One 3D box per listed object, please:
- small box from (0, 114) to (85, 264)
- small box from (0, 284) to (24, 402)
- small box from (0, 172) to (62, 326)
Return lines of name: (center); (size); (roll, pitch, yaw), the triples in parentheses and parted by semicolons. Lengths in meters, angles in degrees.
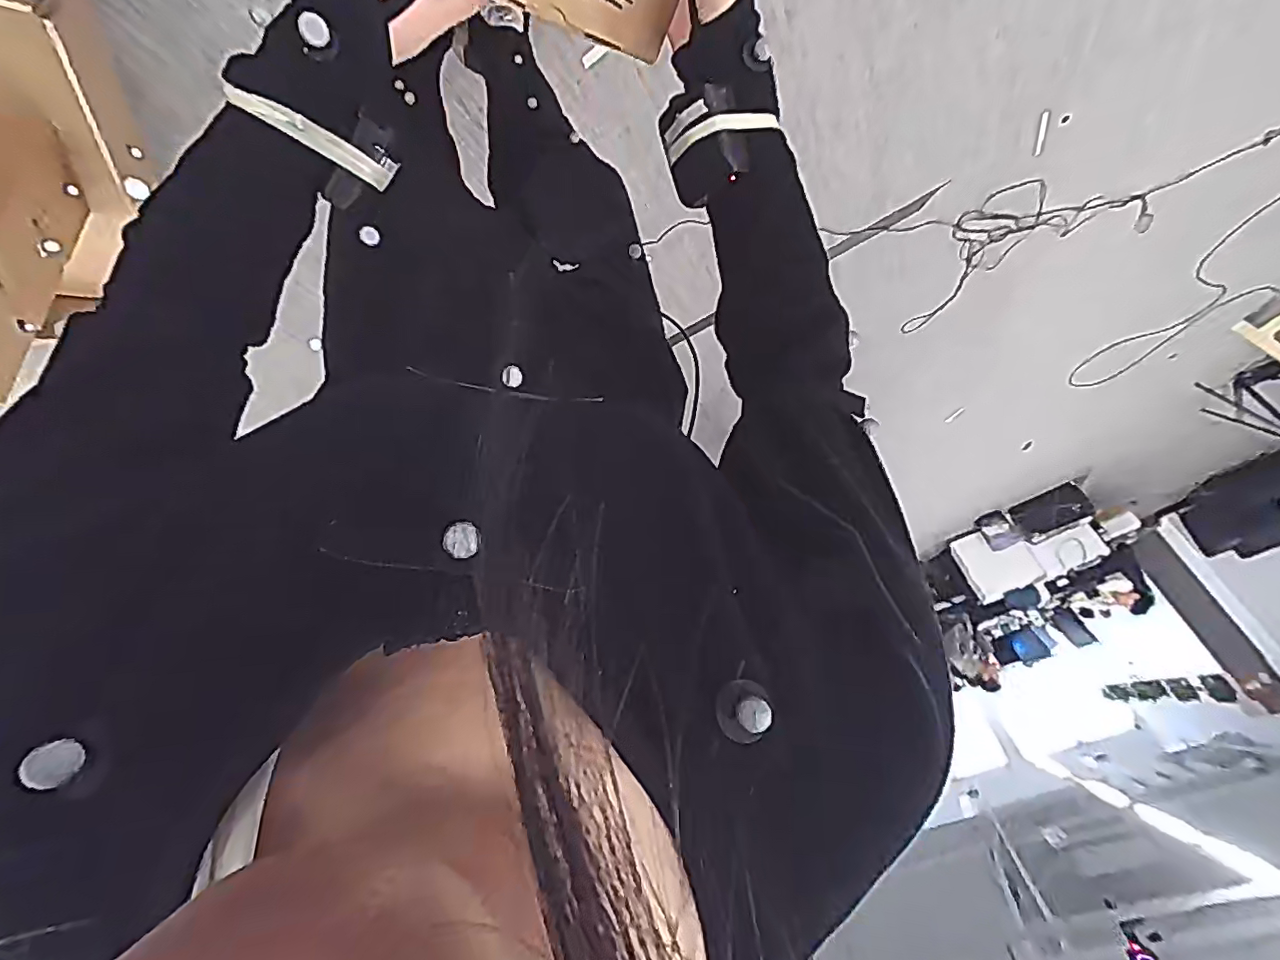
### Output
small box: (-1.087, -0.495, 0.900); (0.179, 0.176, 0.168); (-1, 147, -27)
small box: (-1.007, -0.223, 0.737); (0.179, 0.176, 0.168); (-1, 147, -24)
small box: (-1.046, -0.361, 0.819); (0.179, 0.176, 0.168); (-2, 148, -26)
